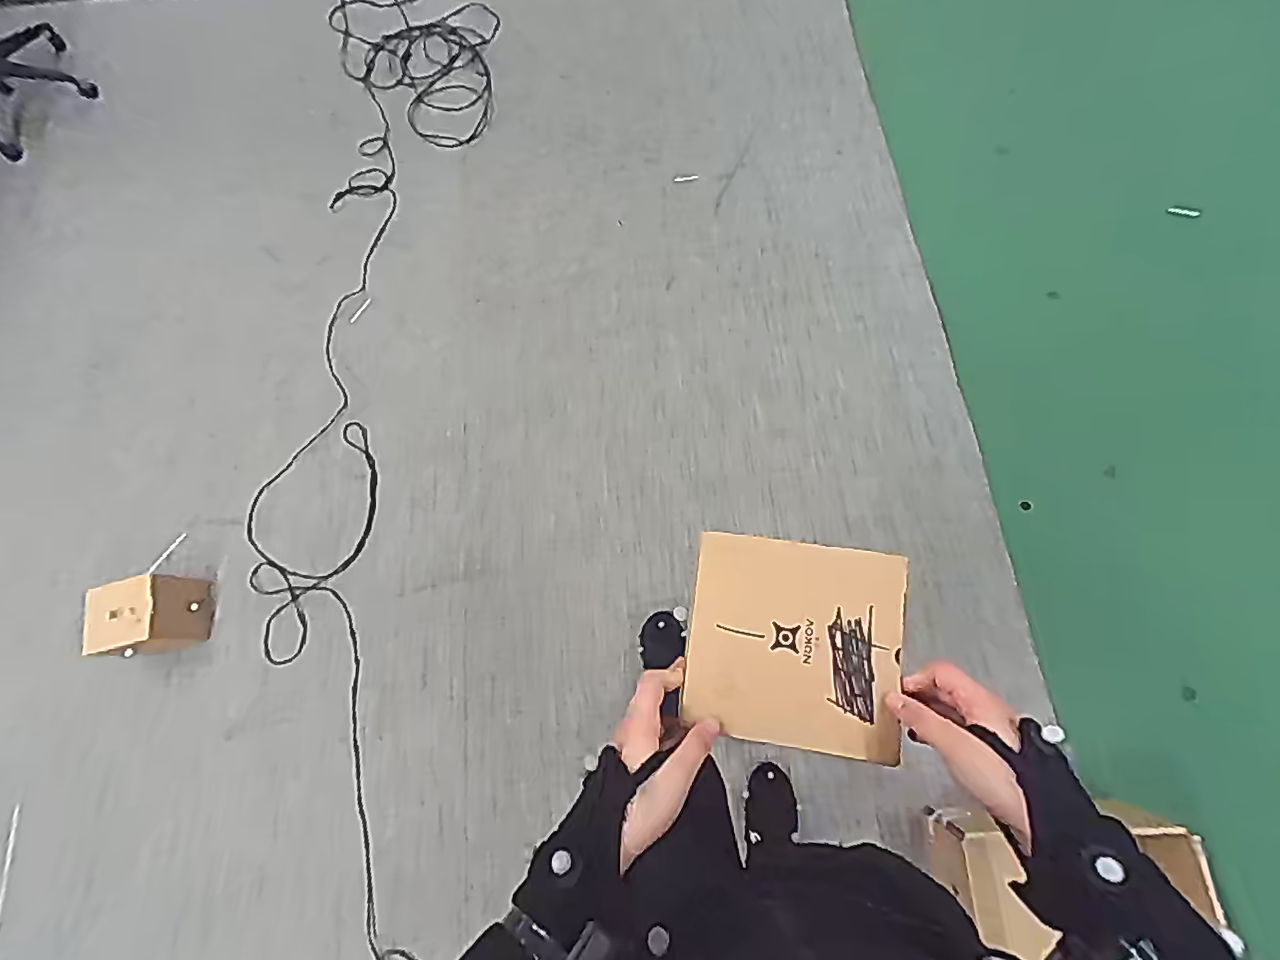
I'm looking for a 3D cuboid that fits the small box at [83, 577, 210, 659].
[{"bbox_3d":[-1.259,0.359,1.390,0.179,0.176,0.168,-15,73,2],"label":"small box"}]

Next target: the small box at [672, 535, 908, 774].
[{"bbox_3d":[0.130,0.152,0.513,0.179,0.176,0.168,6,78,8],"label":"small box"}]
